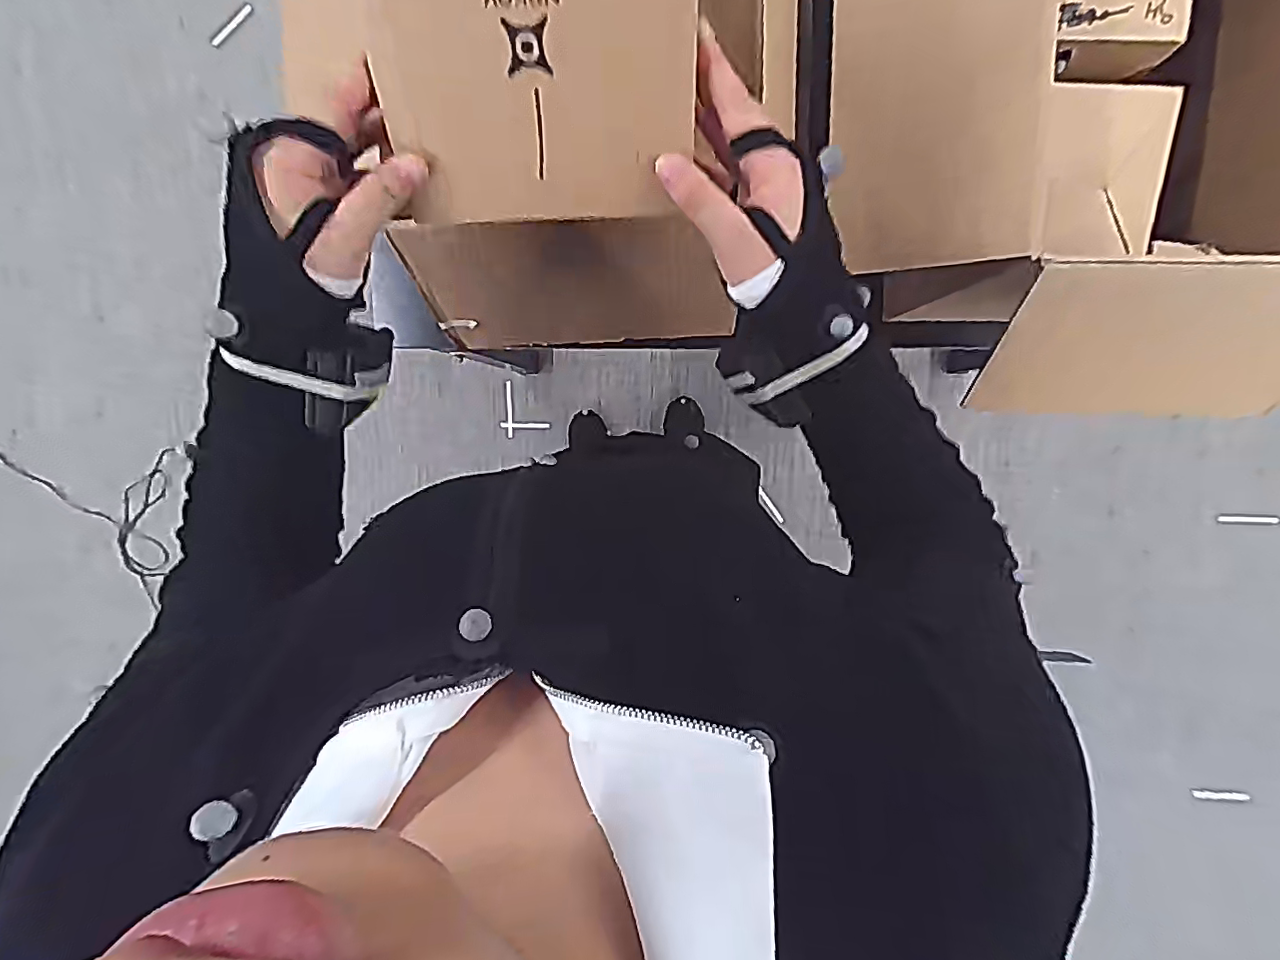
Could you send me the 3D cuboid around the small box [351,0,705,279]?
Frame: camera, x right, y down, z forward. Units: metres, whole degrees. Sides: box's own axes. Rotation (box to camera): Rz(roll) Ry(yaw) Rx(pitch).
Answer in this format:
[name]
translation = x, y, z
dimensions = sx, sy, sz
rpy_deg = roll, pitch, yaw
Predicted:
[small box]
translation = -0.051, -0.240, 0.335
dimensions = 0.168, 0.176, 0.179
rpy_deg = -1, 129, 2
